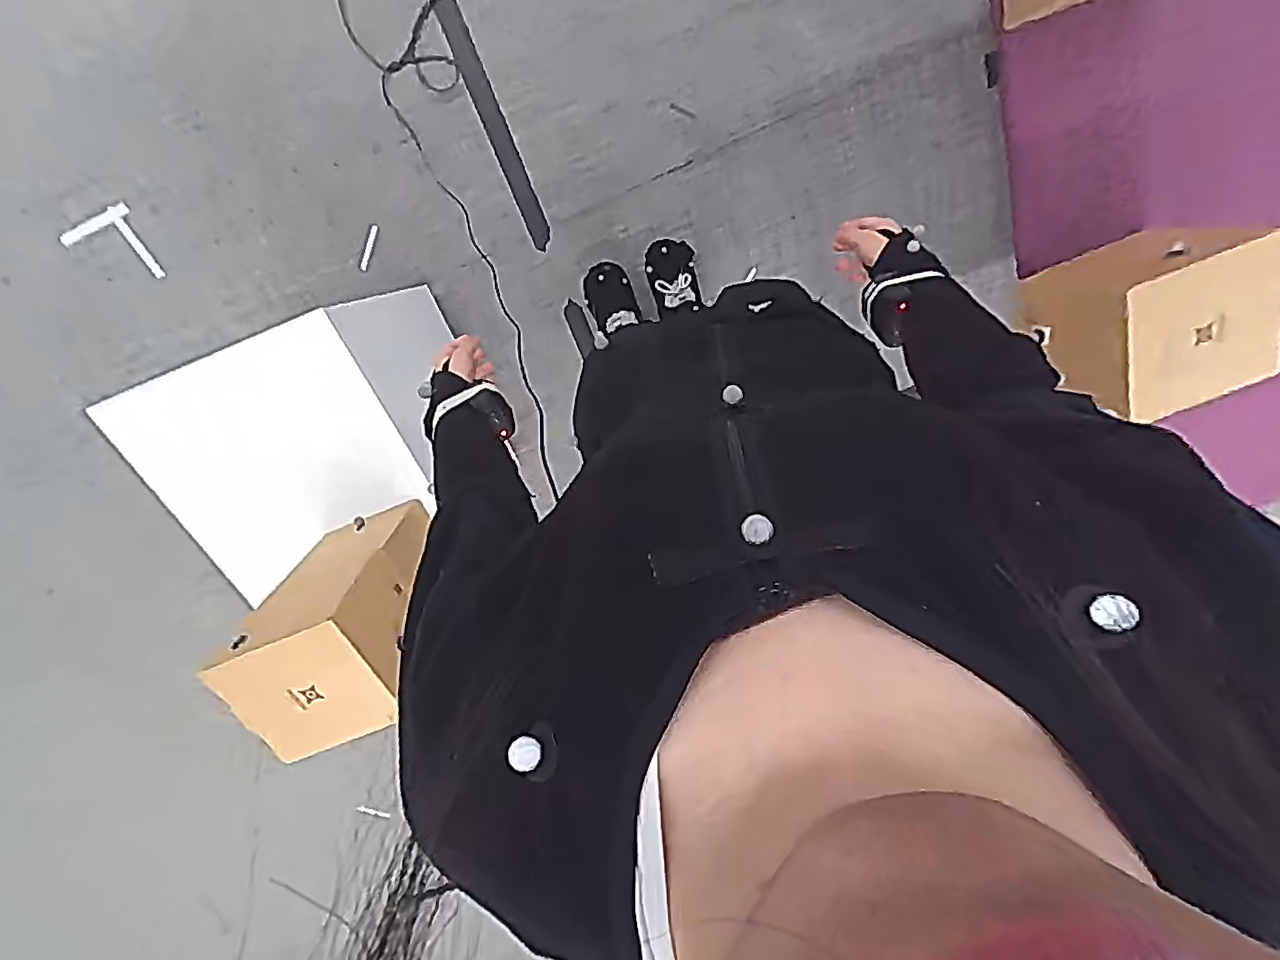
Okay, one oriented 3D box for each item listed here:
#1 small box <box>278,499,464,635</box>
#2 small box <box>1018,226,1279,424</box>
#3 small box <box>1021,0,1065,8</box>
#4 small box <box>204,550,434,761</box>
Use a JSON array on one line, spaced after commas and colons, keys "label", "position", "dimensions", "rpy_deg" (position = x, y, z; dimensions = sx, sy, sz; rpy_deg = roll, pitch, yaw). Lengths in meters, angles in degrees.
[{"label": "small box", "position": [-0.409, 0.156, 0.858], "dimensions": [0.179, 0.176, 0.168], "rpy_deg": [-21, 113, 5]}, {"label": "small box", "position": [0.607, -0.194, 0.656], "dimensions": [0.179, 0.176, 0.168], "rpy_deg": [-21, 112, 5]}, {"label": "small box", "position": [0.459, -0.565, 0.479], "dimensions": [0.168, 0.176, 0.179], "rpy_deg": [-19, 114, 2]}, {"label": "small box", "position": [-0.393, 0.219, 0.708], "dimensions": [0.179, 0.176, 0.168], "rpy_deg": [-22, 113, 5]}]
